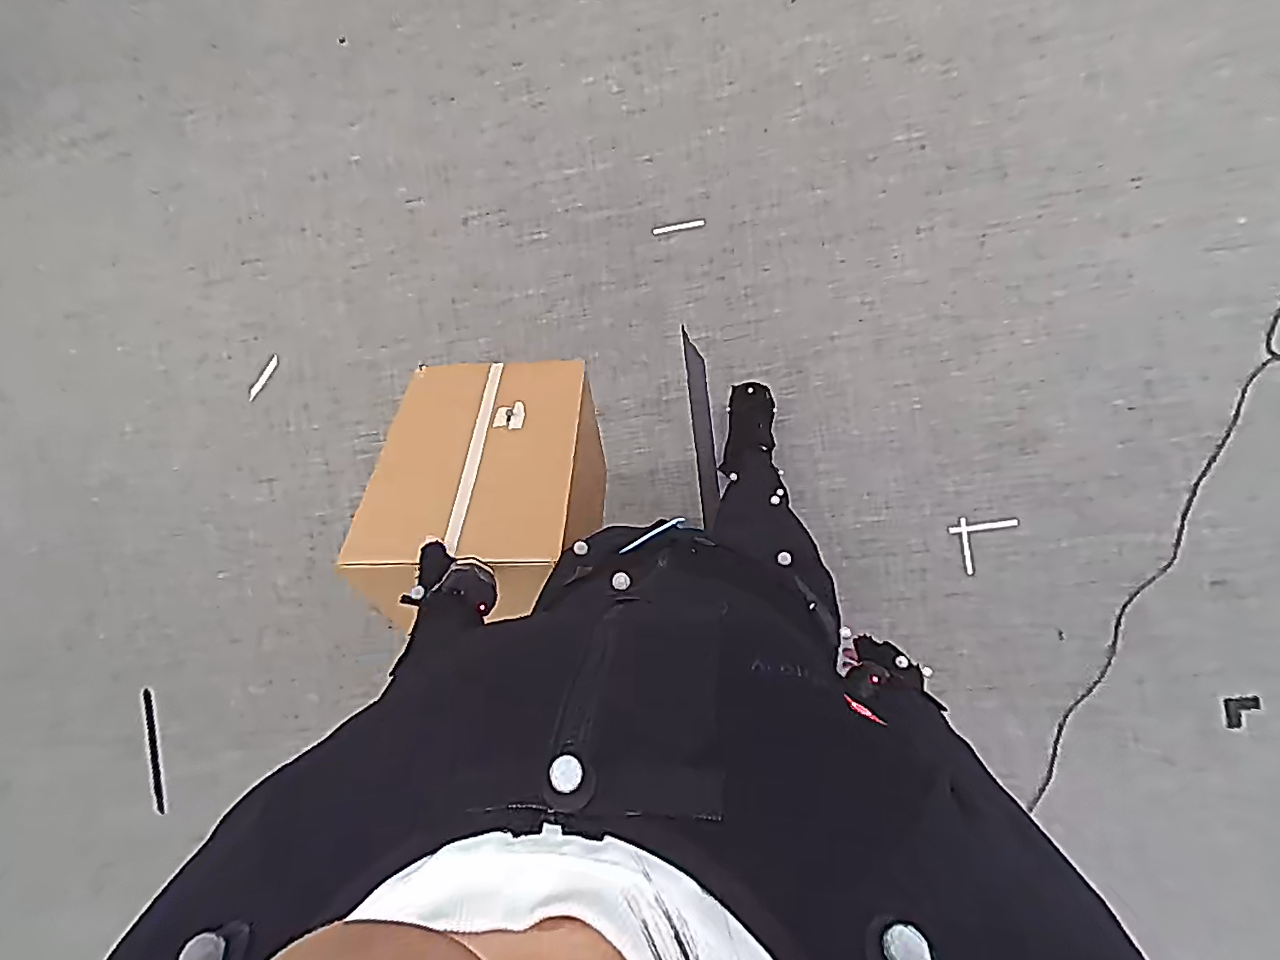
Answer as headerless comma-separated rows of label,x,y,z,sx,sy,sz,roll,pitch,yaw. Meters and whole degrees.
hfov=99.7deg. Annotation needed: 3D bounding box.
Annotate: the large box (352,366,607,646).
large box,-0.237,0.048,0.972,0.320,0.320,0.408,-1,51,3
